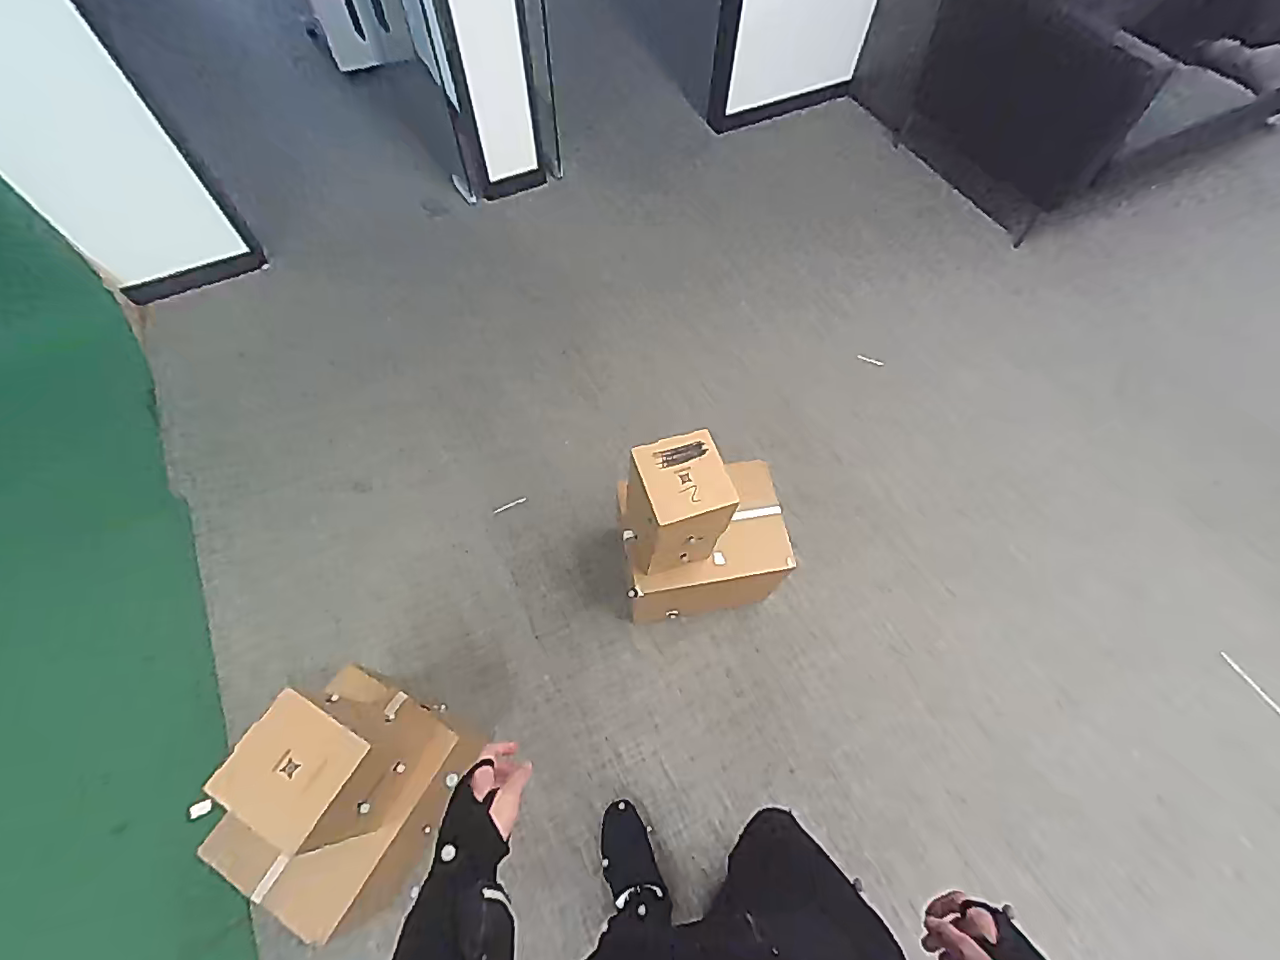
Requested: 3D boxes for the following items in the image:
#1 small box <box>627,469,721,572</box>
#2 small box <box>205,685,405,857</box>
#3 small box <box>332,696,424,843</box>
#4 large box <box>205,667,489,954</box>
[{"bbox_3d":[0.072,0.102,1.260,0.168,0.176,0.179,-15,65,-10],"label":"small box"},{"bbox_3d":[-0.518,0.458,0.864,0.179,0.176,0.168,28,65,11],"label":"small box"},{"bbox_3d":[-0.531,0.532,1.008,0.168,0.176,0.179,26,64,12],"label":"small box"},{"bbox_3d":[-0.600,0.691,1.201,0.320,0.320,0.408,26,65,13],"label":"large box"}]
